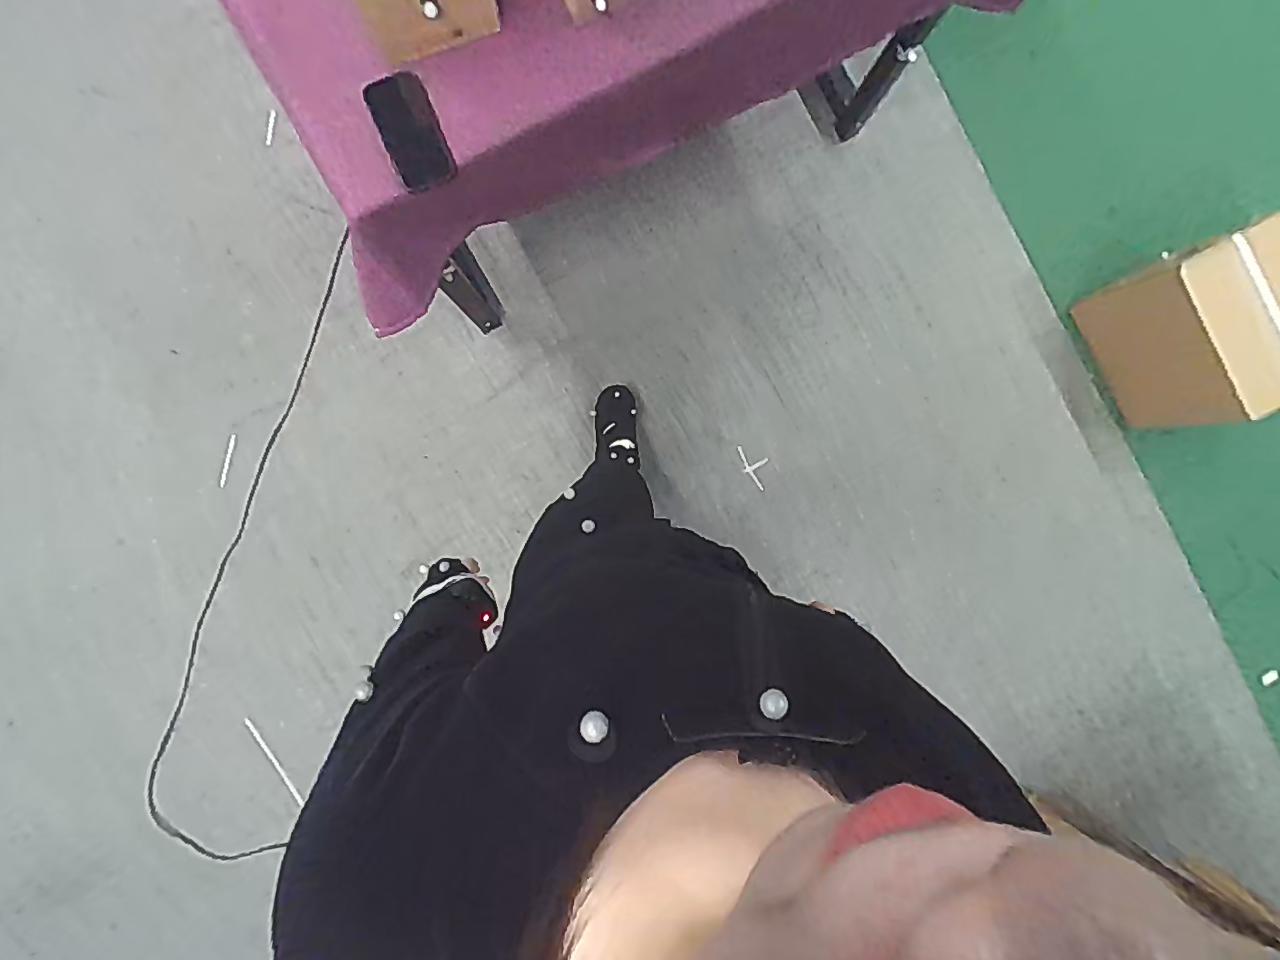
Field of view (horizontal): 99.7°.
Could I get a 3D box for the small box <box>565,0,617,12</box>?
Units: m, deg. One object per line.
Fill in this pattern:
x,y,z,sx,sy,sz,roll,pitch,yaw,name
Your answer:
-0.050,-0.735,0.663,0.168,0.176,0.179,-28,91,-2,small box

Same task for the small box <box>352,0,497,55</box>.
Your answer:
-0.290,-0.664,0.653,0.168,0.176,0.179,-21,93,-3,small box
